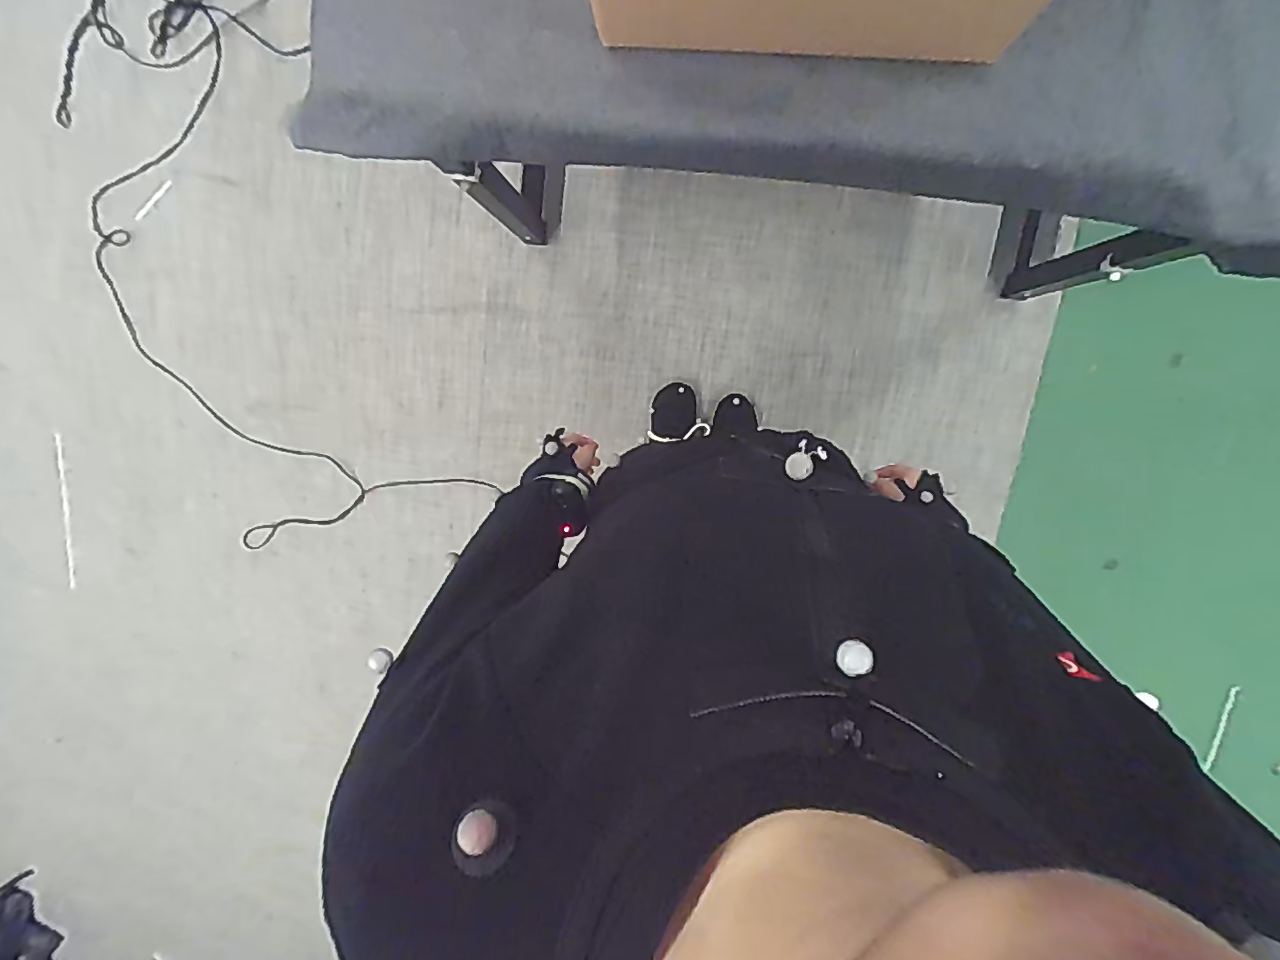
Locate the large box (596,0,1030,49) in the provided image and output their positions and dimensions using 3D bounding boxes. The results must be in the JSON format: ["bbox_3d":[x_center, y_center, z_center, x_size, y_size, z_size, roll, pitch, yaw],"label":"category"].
[{"bbox_3d":[0.156,-0.571,0.386,0.408,0.320,0.320,4,101,2],"label":"large box"}]
